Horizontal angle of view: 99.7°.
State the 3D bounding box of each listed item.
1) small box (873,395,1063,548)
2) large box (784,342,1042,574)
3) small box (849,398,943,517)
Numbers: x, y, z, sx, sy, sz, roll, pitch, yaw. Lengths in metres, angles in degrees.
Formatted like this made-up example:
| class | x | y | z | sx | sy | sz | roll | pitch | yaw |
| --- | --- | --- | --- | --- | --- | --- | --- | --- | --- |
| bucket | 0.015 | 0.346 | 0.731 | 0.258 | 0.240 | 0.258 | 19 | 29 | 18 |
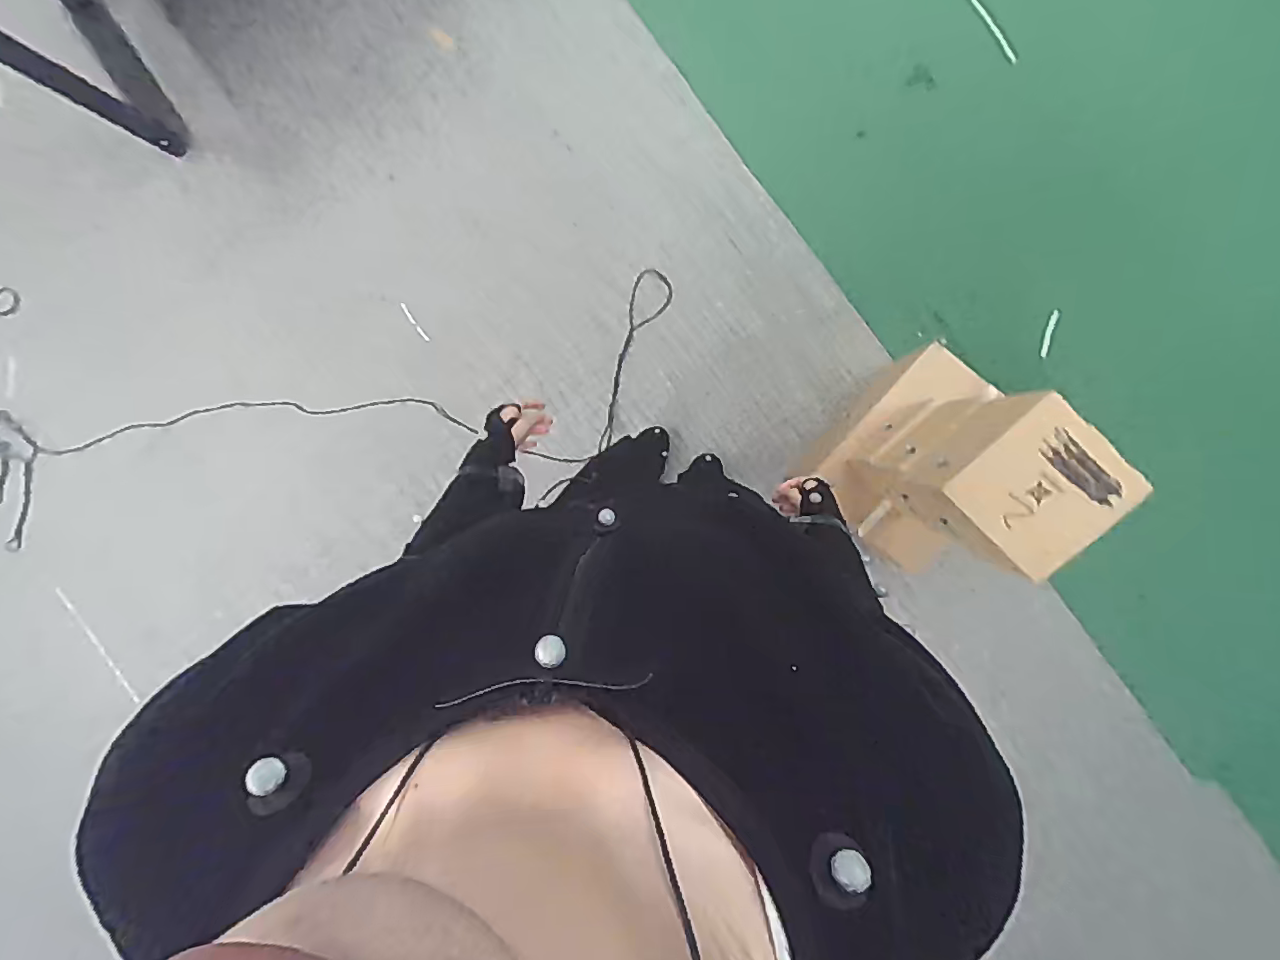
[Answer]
| class | x | y | z | sx | sy | sz | roll | pitch | yaw |
| --- | --- | --- | --- | --- | --- | --- | --- | --- | --- |
| small box | 0.522 | -0.018 | 0.892 | 0.179 | 0.176 | 0.168 | -43 | 88 | 8 |
| large box | 0.608 | -0.048 | 1.291 | 0.320 | 0.320 | 0.408 | 41 | 96 | 2 |
| small box | 0.539 | -0.035 | 1.052 | 0.168 | 0.176 | 0.179 | -44 | 87 | 8 |
